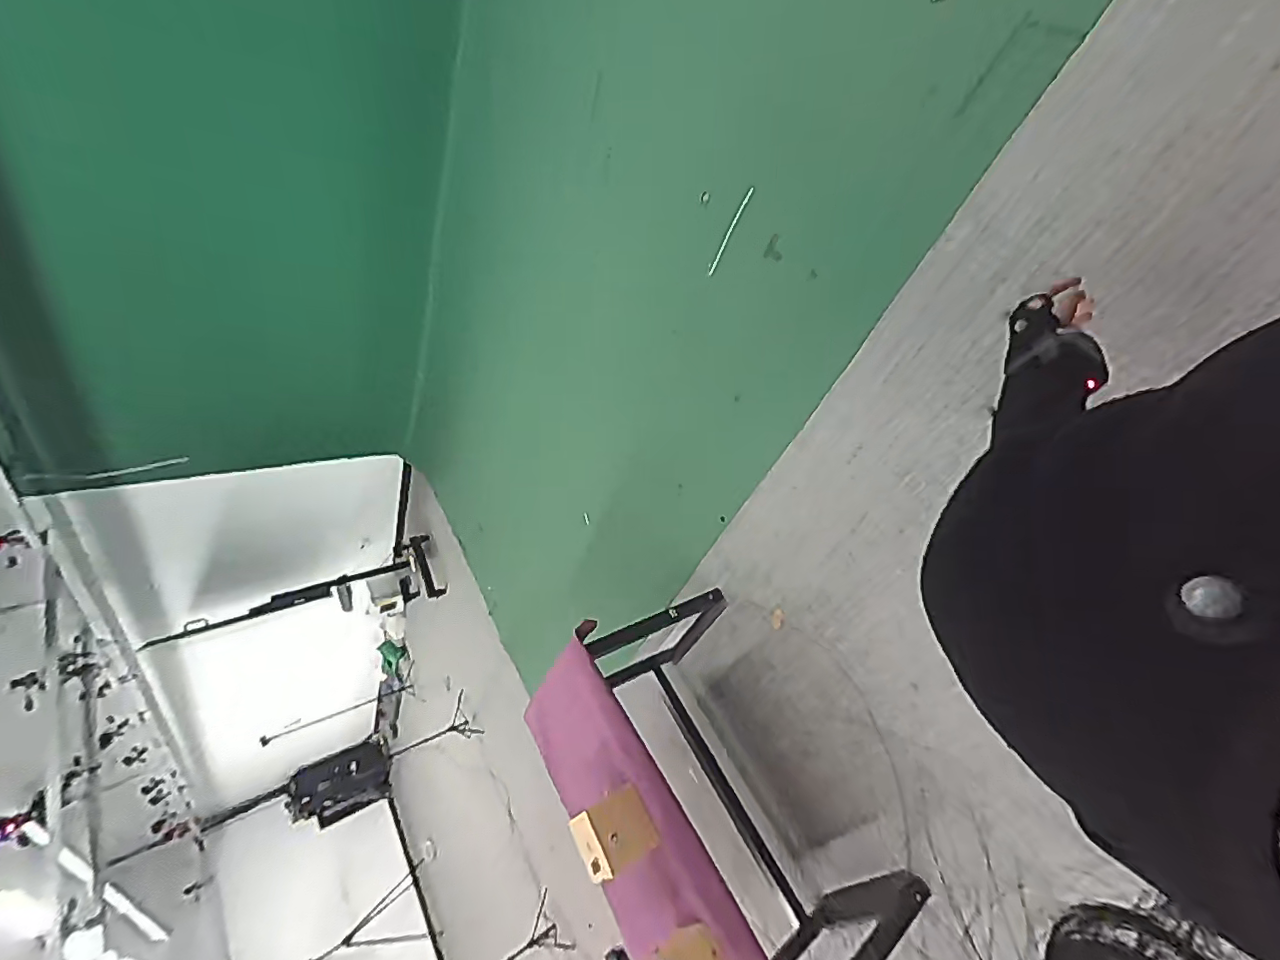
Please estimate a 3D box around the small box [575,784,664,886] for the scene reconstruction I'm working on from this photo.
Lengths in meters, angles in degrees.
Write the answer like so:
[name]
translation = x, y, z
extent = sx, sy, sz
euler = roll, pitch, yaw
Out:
[small box]
translation = -0.058, 1.019, 1.557
extent = 0.179, 0.176, 0.168
euler = 57, 139, 26
